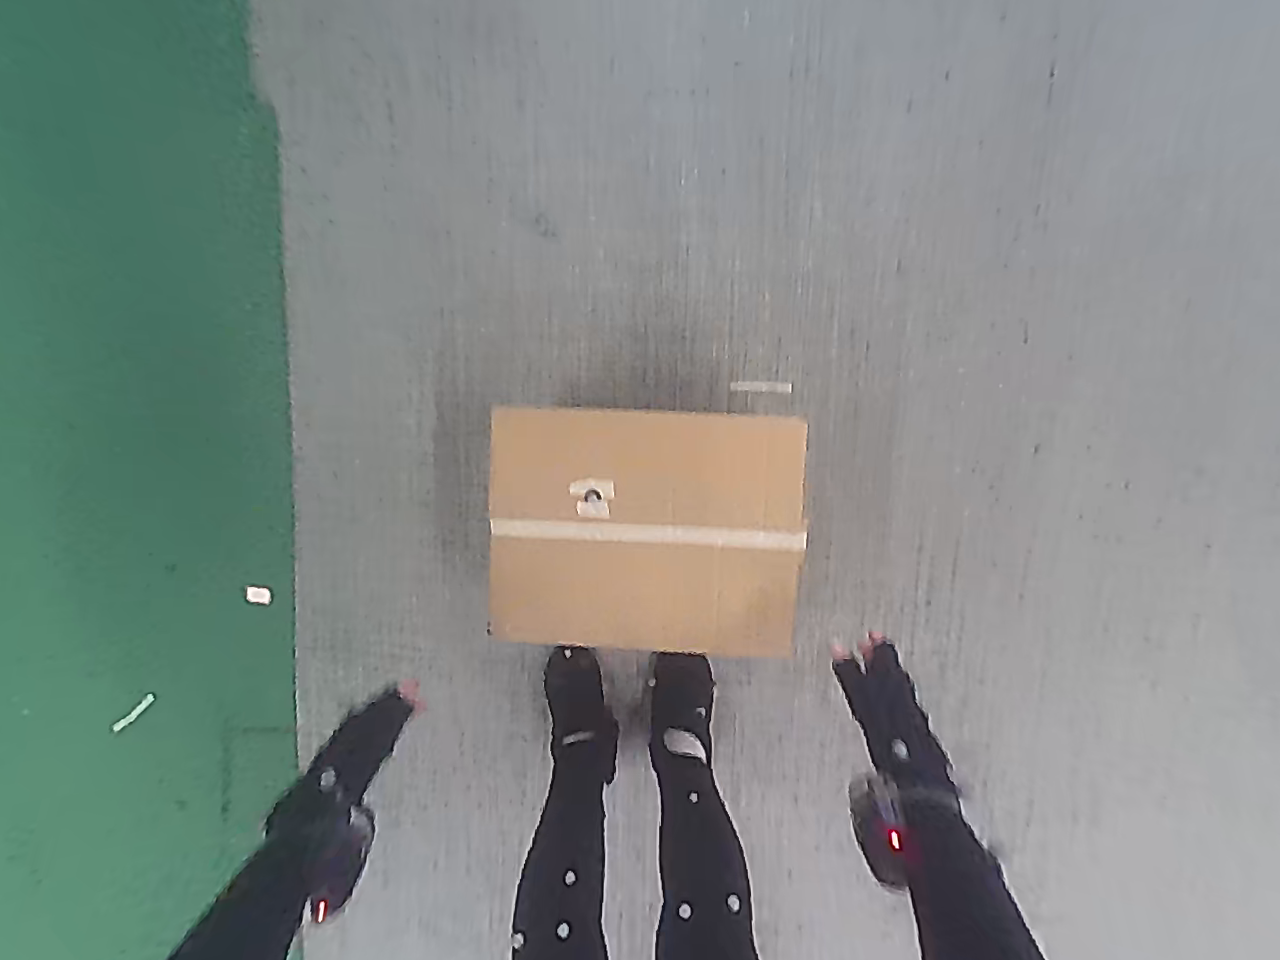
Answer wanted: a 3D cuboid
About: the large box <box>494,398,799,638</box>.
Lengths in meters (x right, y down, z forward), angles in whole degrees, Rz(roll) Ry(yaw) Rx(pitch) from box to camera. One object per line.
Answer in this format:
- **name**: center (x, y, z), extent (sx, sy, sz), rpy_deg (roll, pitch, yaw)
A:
- **large box**: center (0.013, 0.036, 0.863), extent (0.408, 0.320, 0.320), rpy_deg (3, 95, 4)
